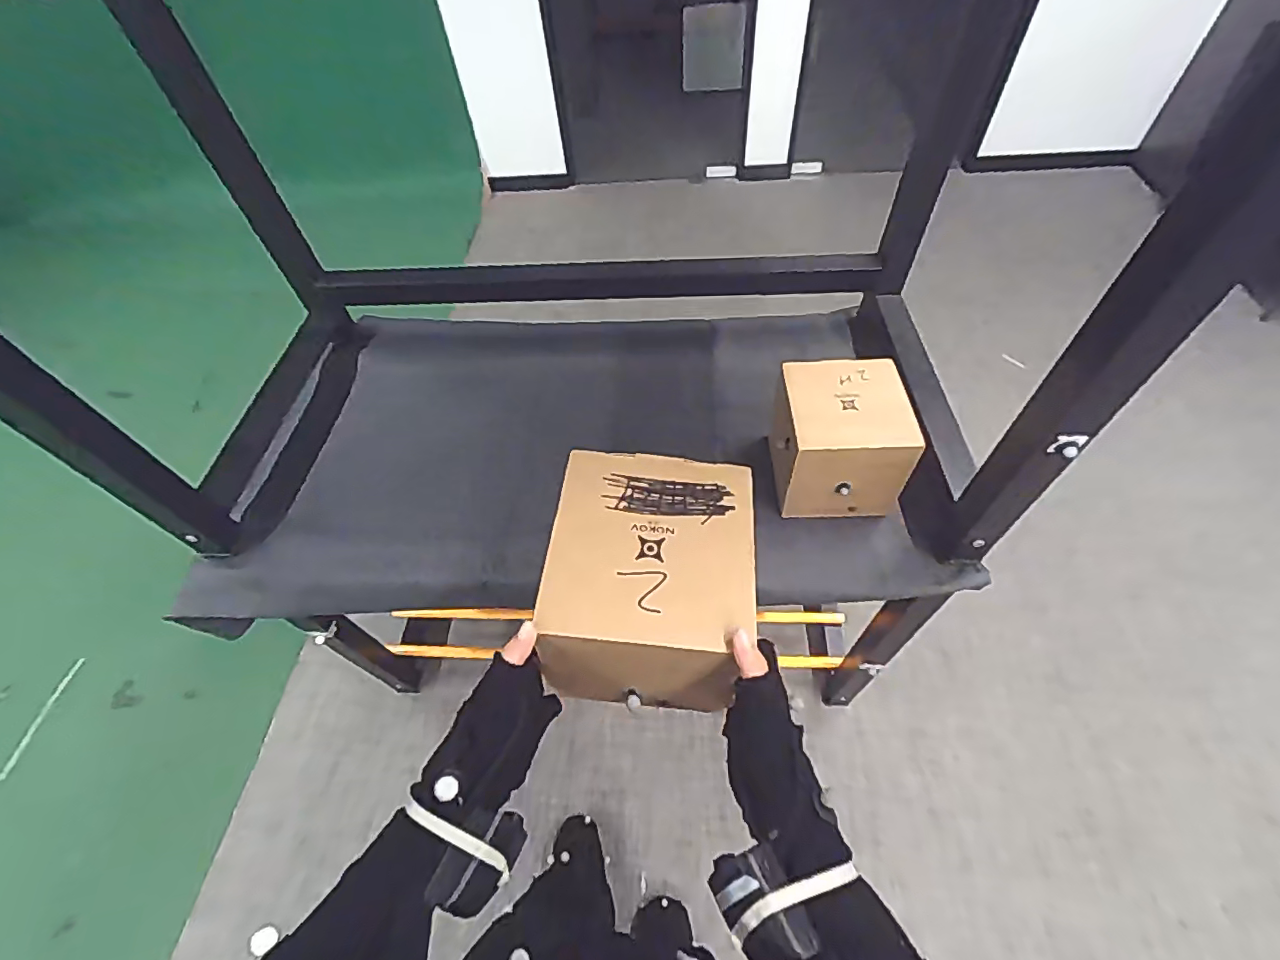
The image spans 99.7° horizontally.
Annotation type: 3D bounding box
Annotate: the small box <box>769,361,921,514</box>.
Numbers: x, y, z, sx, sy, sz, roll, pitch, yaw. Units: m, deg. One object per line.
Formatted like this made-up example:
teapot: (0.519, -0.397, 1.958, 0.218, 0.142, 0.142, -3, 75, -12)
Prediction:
small box: (0.298, -0.059, 0.827, 0.168, 0.176, 0.179, -2, 52, 4)
